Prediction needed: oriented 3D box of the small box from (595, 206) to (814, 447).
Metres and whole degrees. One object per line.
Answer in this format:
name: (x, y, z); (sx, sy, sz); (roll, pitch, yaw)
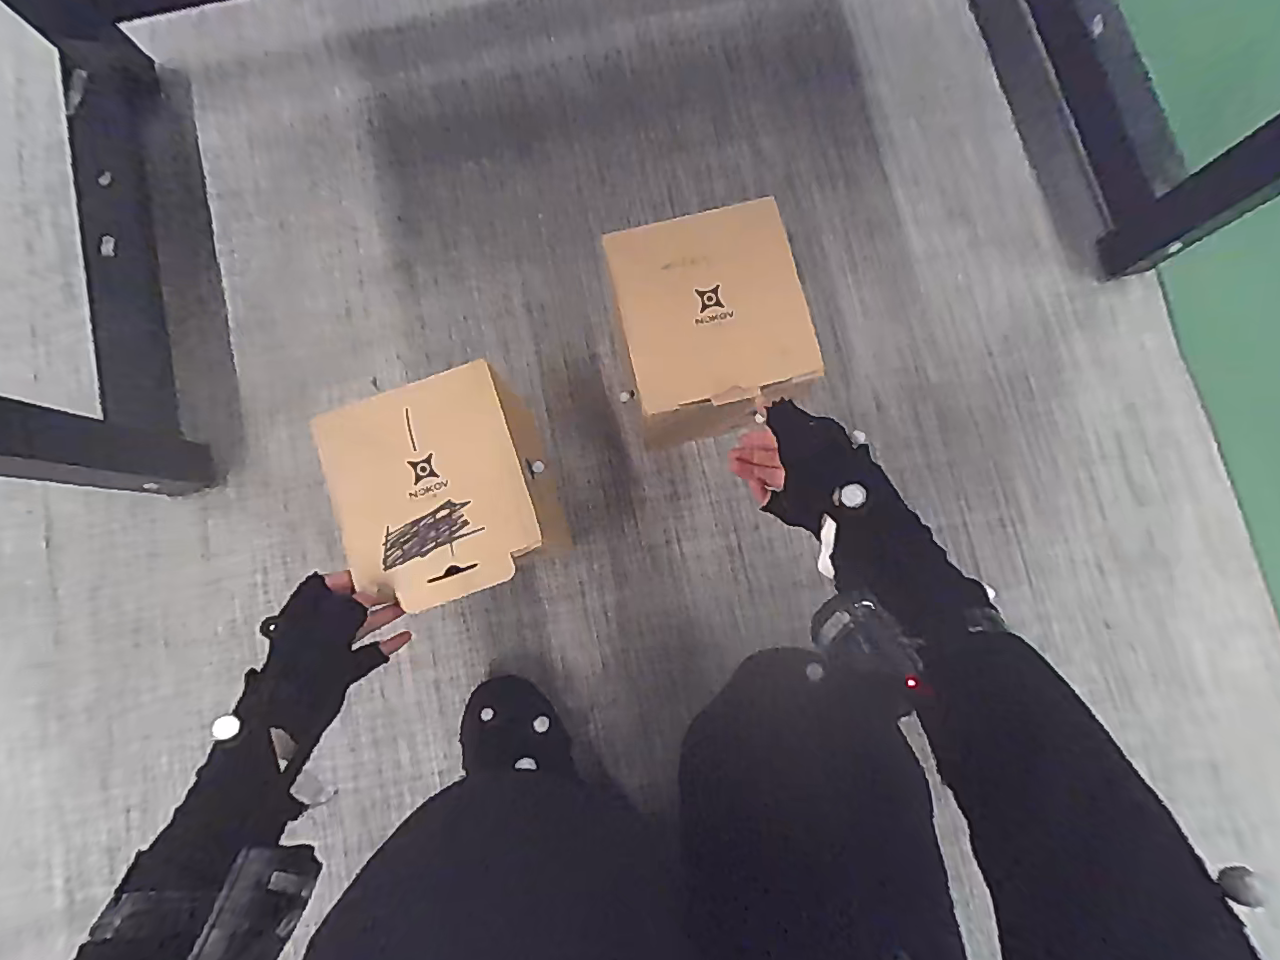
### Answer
small box: (0.058, -0.141, 0.565); (0.168, 0.176, 0.179); (-14, 81, -2)
